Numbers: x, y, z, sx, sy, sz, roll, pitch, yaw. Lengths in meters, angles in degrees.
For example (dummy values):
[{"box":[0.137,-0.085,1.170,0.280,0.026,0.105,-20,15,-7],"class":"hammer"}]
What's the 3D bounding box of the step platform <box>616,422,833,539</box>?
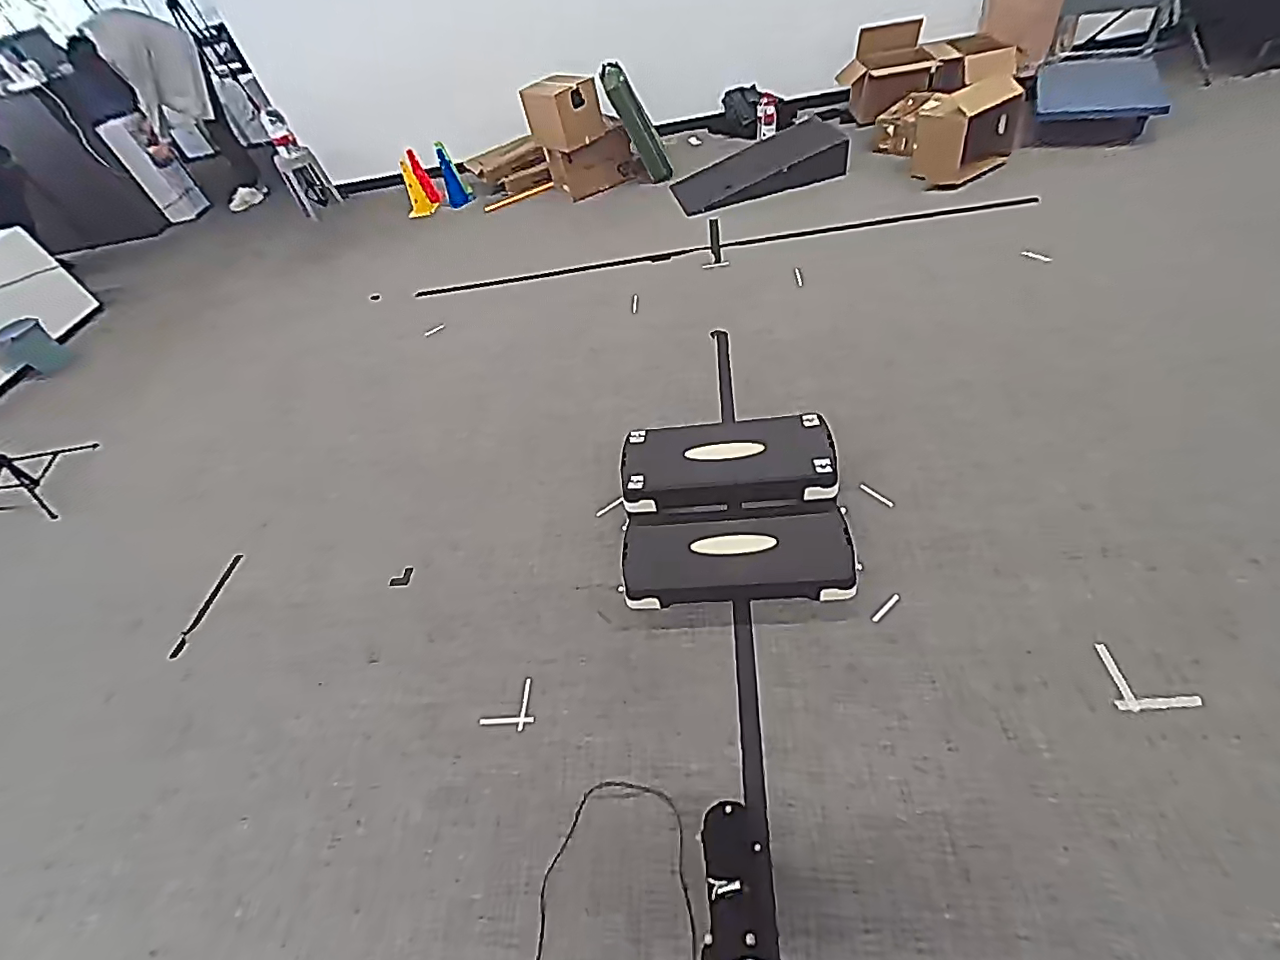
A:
[{"box":[0.262,-0.001,1.751,0.684,0.204,0.286,-5,49,8],"class":"step platform"}]
